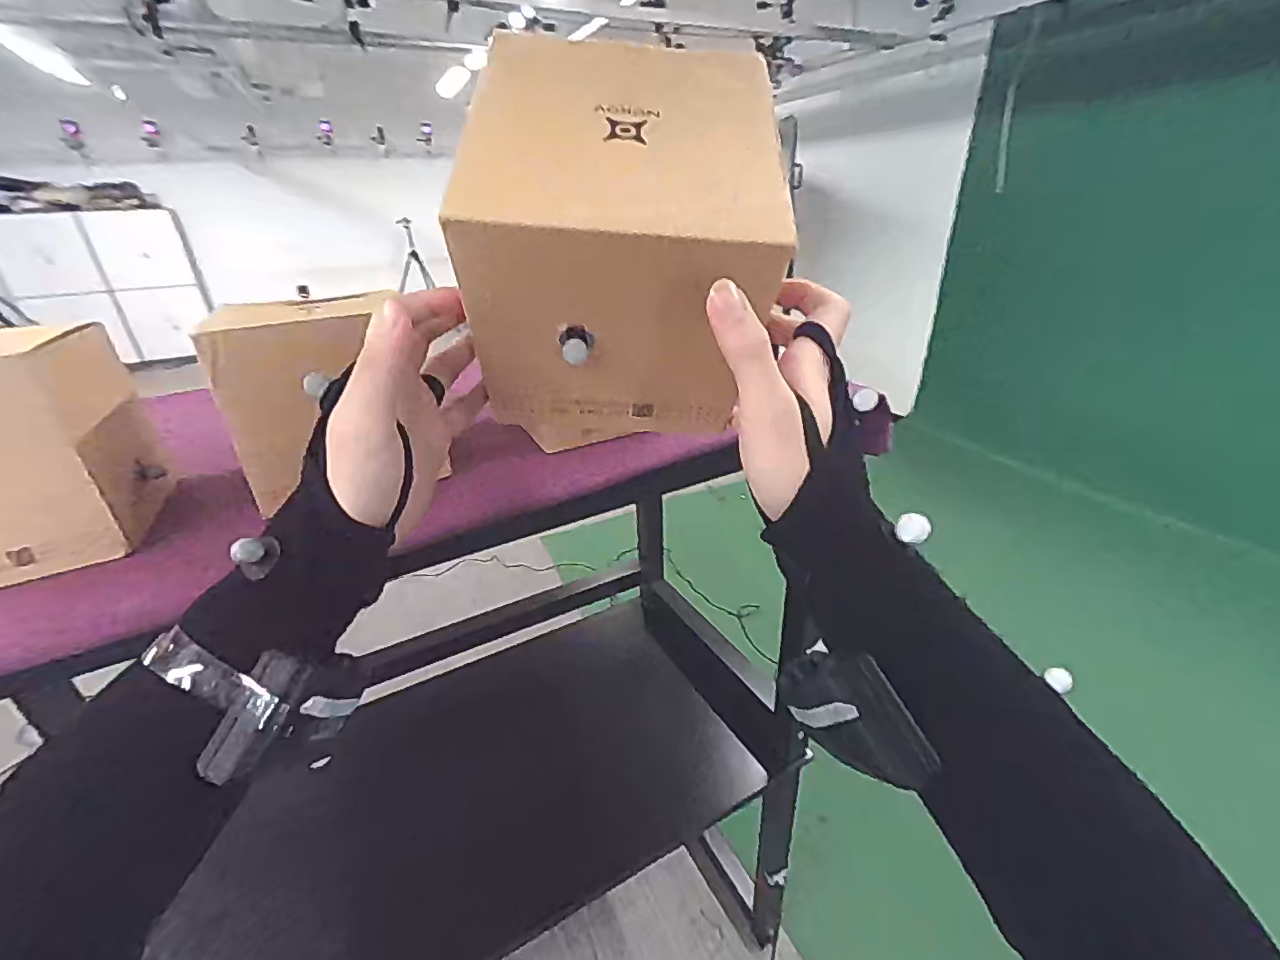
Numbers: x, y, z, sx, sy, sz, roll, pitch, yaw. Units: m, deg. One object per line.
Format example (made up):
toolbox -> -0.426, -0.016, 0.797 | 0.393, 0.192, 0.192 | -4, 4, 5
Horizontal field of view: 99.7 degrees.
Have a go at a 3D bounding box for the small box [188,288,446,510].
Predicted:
small box -> -0.305, -0.091, 0.541 | 0.168, 0.176, 0.179 | -16, 30, -24

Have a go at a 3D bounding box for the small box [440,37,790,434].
small box -> -0.013, -0.146, 0.356 | 0.168, 0.176, 0.179 | 3, 61, -3

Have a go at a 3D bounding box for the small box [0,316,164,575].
small box -> -0.527, -0.029, 0.433 | 0.168, 0.176, 0.179 | -16, 28, -24
